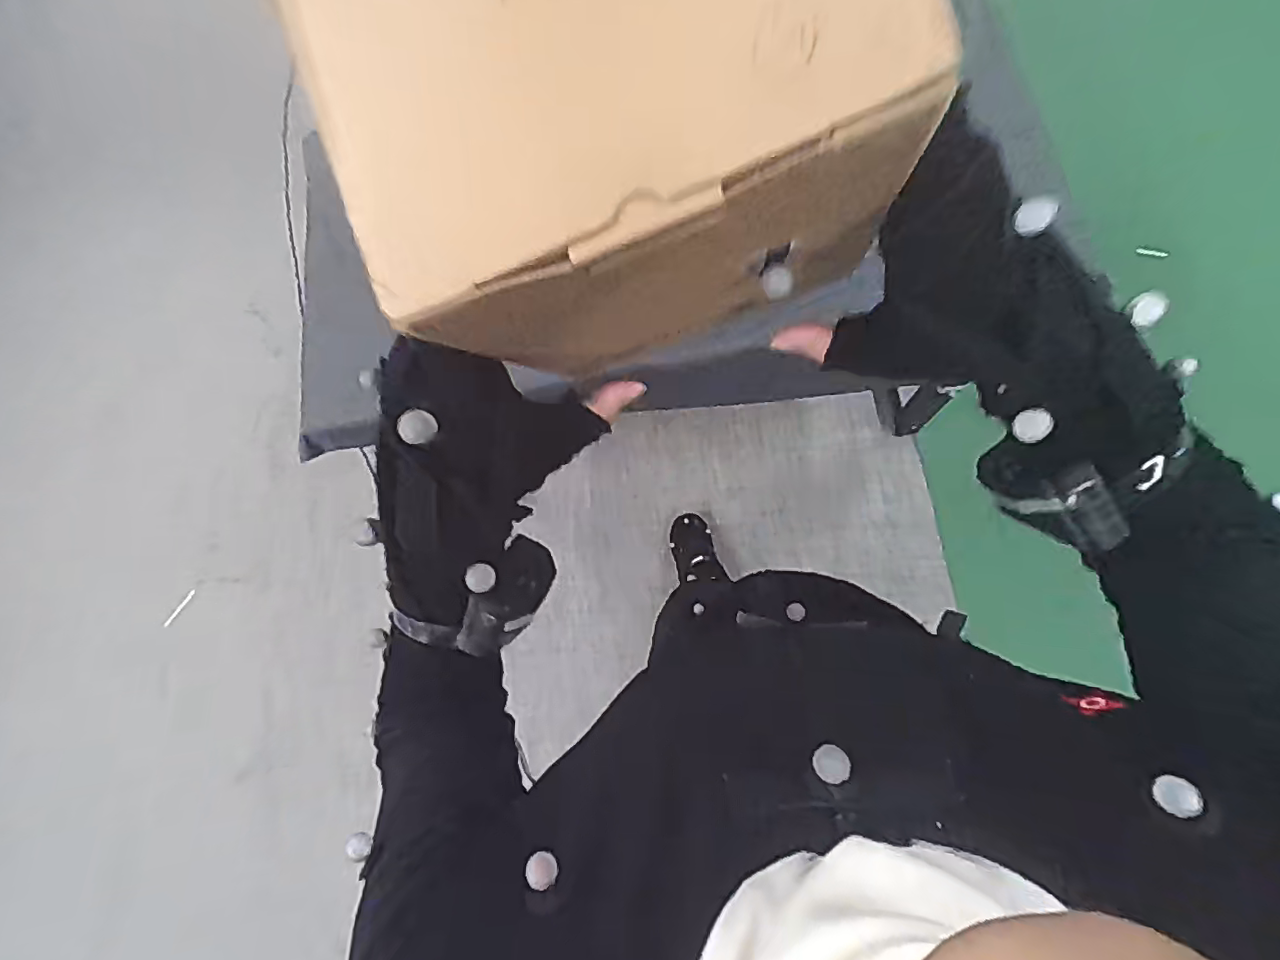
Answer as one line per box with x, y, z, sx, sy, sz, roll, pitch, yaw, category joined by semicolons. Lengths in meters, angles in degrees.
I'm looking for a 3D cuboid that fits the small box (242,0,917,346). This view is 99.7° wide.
-0.019;-0.163;0.215;0.168;0.176;0.179;-17;91;13;small box
